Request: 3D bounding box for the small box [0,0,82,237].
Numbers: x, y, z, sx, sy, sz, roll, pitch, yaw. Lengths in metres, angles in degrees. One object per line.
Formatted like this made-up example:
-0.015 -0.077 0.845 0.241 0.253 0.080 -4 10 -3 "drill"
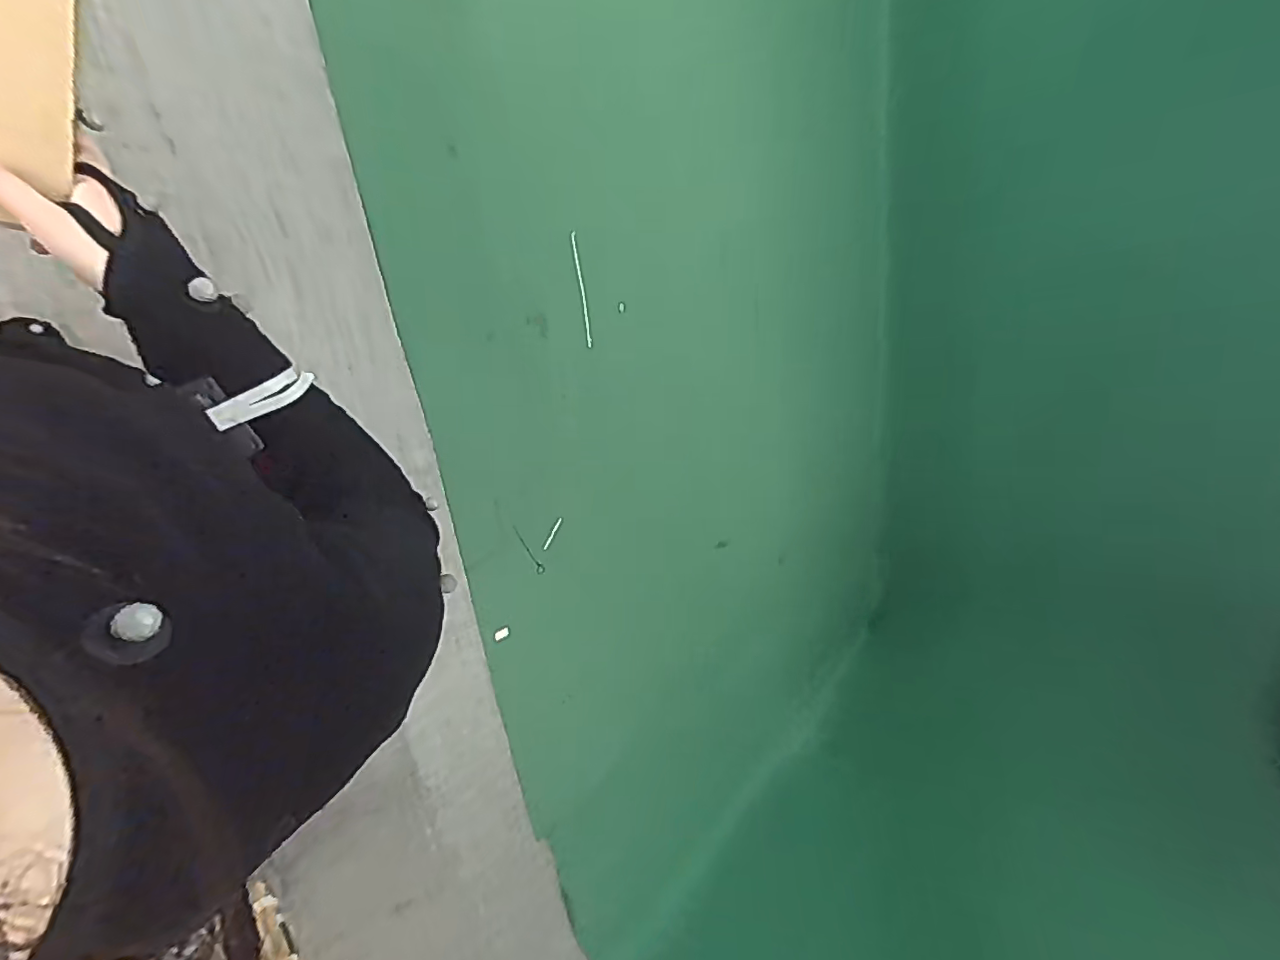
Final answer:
-0.445 -0.262 0.313 0.168 0.176 0.179 1 111 -46 "small box"
